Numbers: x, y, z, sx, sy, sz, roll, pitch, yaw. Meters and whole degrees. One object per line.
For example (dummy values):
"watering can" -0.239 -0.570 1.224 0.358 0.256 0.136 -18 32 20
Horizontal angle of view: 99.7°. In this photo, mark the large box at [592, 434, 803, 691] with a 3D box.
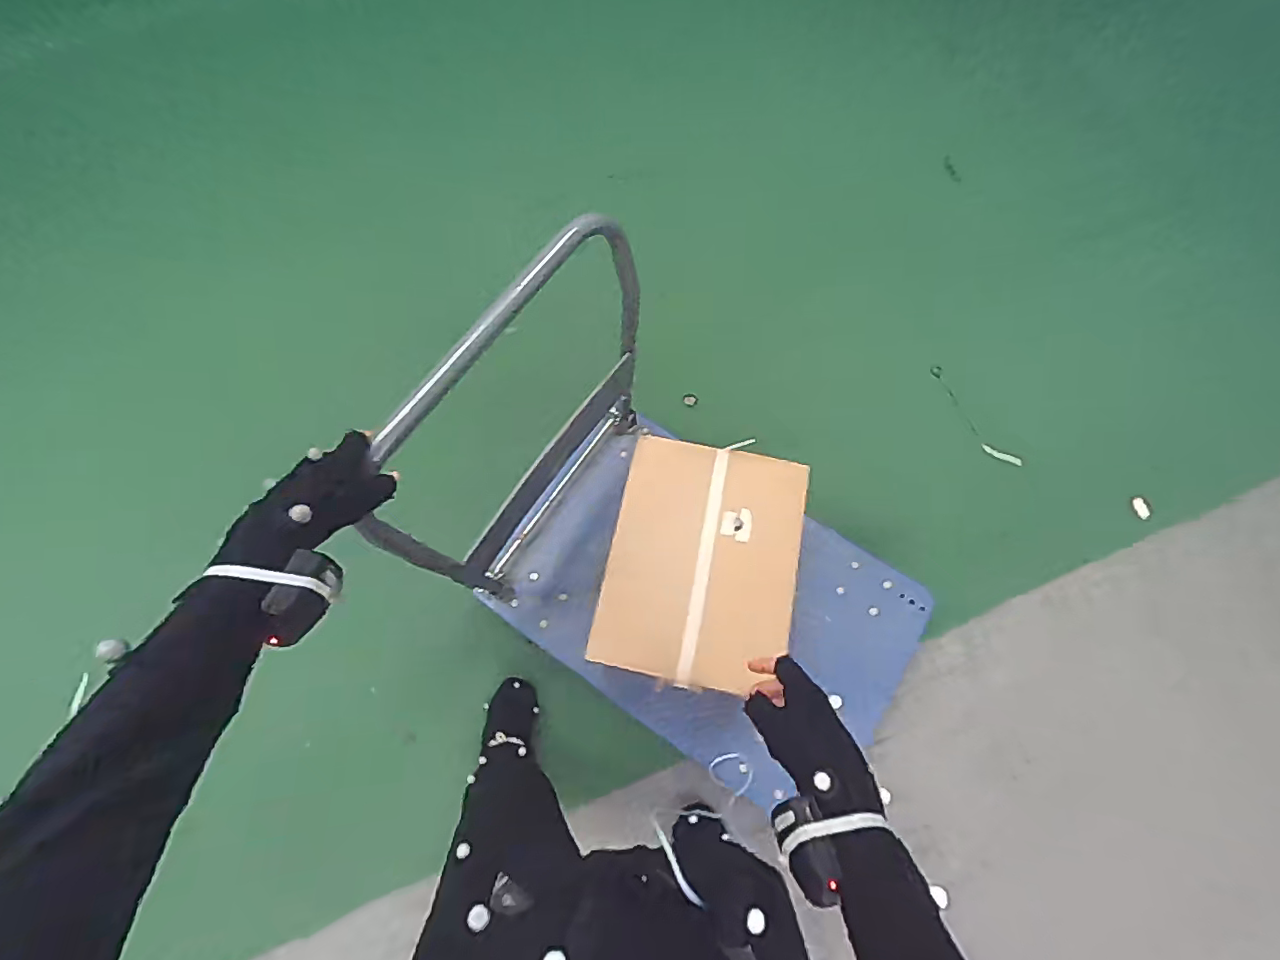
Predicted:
"large box" 0.112 0.176 1.063 0.320 0.320 0.408 12 70 5
